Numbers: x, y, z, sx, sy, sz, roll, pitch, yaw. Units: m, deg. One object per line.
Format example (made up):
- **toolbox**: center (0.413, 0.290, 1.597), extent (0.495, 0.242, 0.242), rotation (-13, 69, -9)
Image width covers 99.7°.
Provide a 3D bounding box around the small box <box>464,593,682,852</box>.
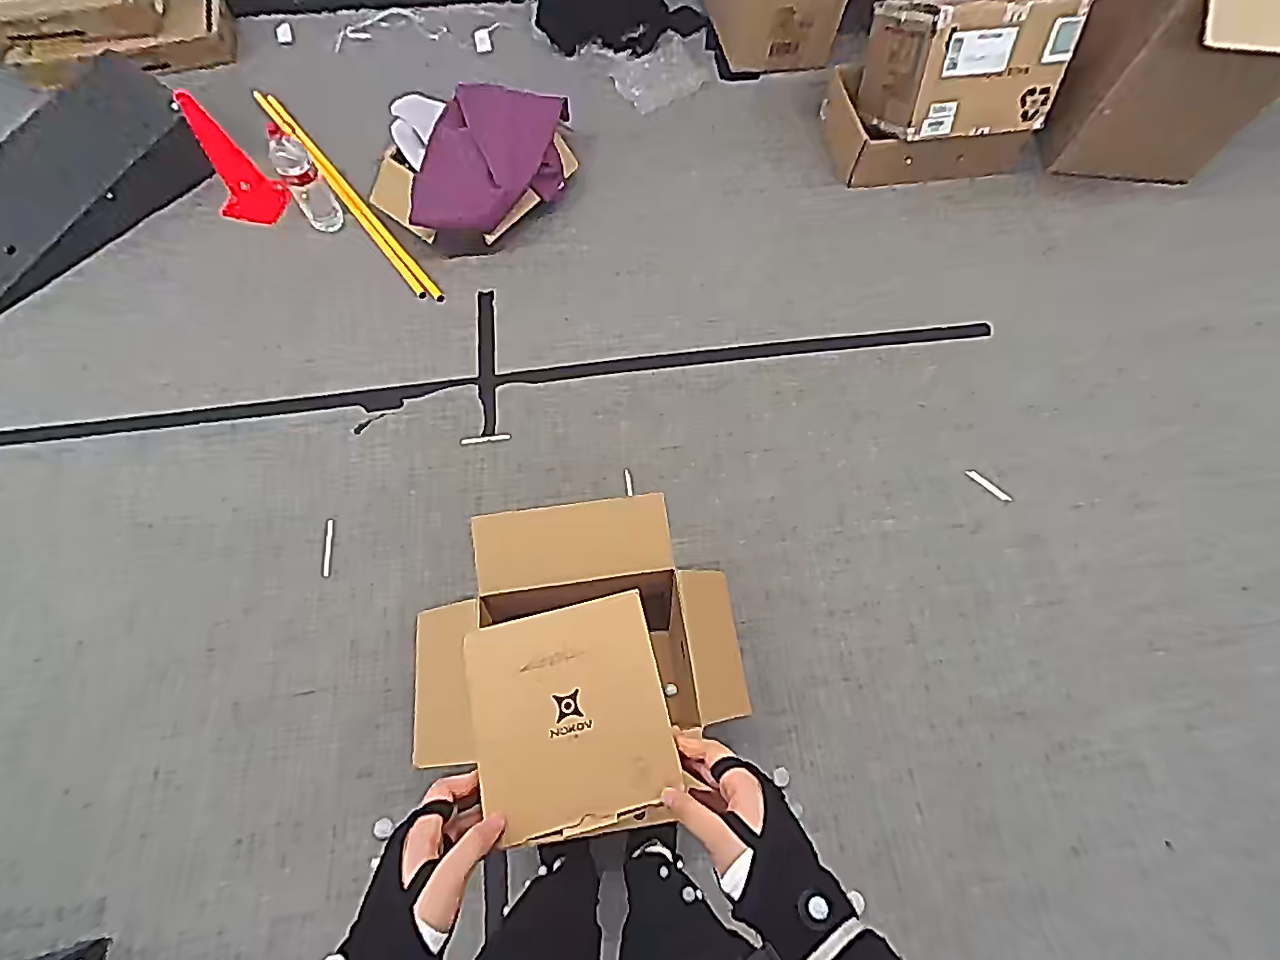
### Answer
- **small box**: center (-0.060, 0.230, 0.537), extent (0.168, 0.176, 0.179), rotation (-14, 66, -5)
